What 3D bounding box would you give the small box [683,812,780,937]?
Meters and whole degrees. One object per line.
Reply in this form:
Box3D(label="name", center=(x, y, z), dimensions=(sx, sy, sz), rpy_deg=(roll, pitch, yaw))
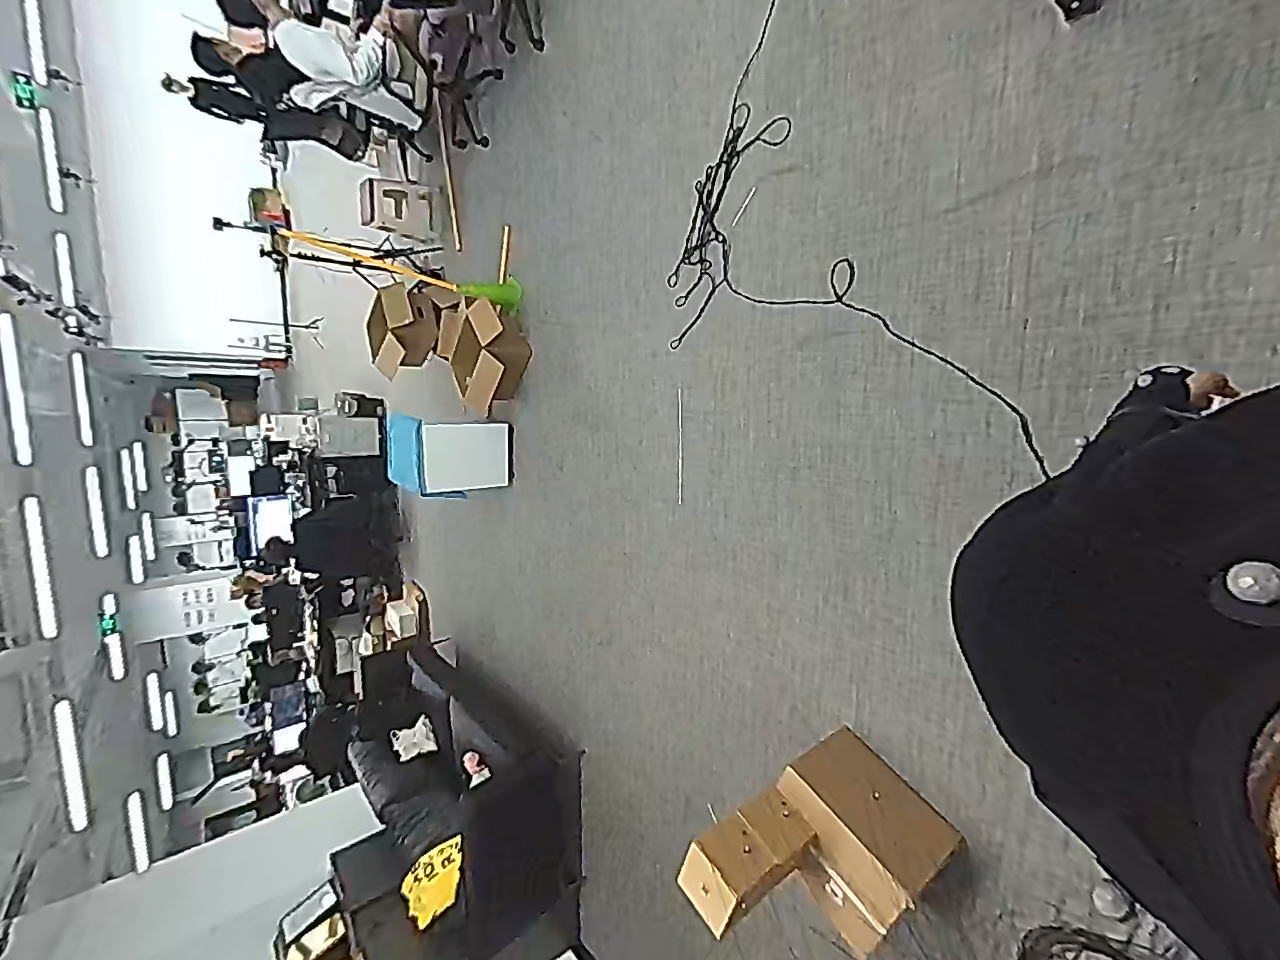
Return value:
Box3D(label="small box", center=(0.244, 1.036, 1.432), dimensions=(0.168, 0.176, 0.179), rpy_deg=(35, 121, 43))
